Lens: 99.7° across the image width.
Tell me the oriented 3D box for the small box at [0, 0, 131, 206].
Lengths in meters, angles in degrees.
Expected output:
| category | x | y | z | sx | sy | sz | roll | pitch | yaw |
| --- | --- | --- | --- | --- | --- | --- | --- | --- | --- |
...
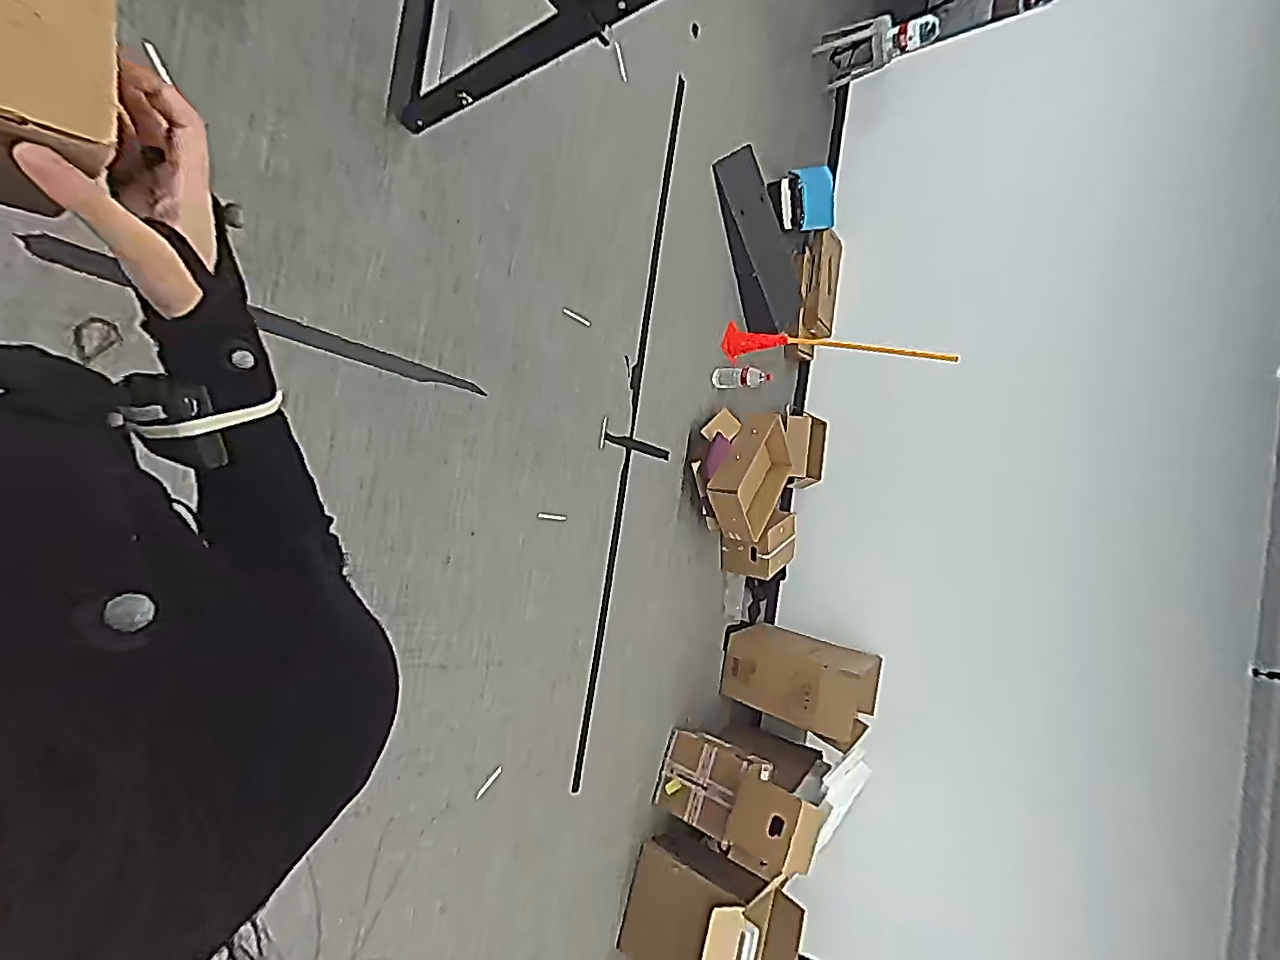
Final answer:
| category | x | y | z | sx | sy | sz | roll | pitch | yaw |
| --- | --- | --- | --- | --- | --- | --- | --- | --- | --- |
| small box | -0.365 | -0.254 | 0.252 | 0.168 | 0.176 | 0.179 | -2 | 98 | -54 |
